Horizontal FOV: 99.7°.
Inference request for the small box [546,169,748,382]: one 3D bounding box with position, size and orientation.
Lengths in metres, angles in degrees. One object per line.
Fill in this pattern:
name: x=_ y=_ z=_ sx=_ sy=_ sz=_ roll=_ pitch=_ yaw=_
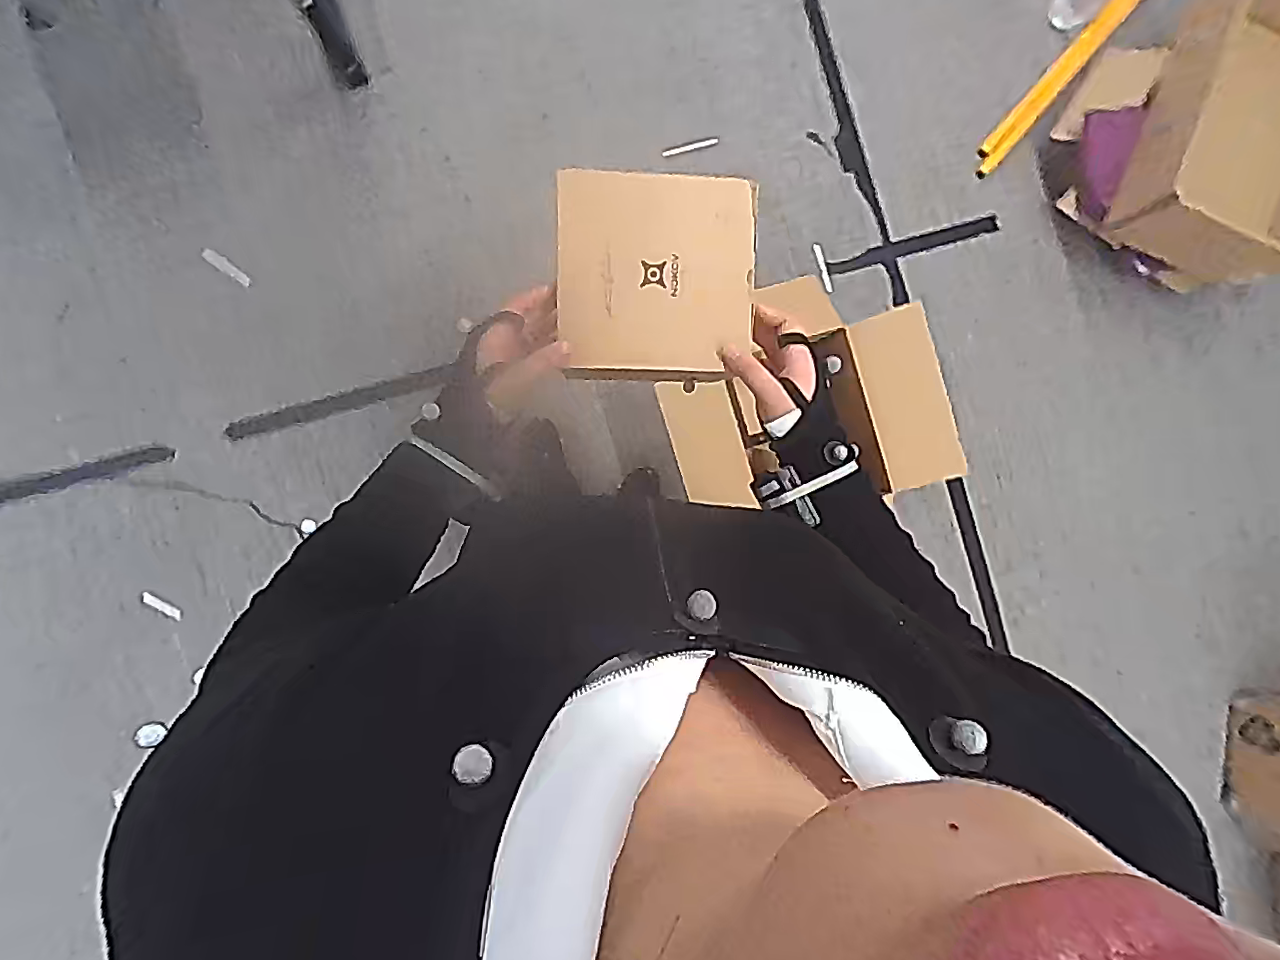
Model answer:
small box: x=0.000 y=-0.189 z=0.545 sx=0.179 sy=0.176 sz=0.168 roll=-2 pitch=96 yaw=-4
